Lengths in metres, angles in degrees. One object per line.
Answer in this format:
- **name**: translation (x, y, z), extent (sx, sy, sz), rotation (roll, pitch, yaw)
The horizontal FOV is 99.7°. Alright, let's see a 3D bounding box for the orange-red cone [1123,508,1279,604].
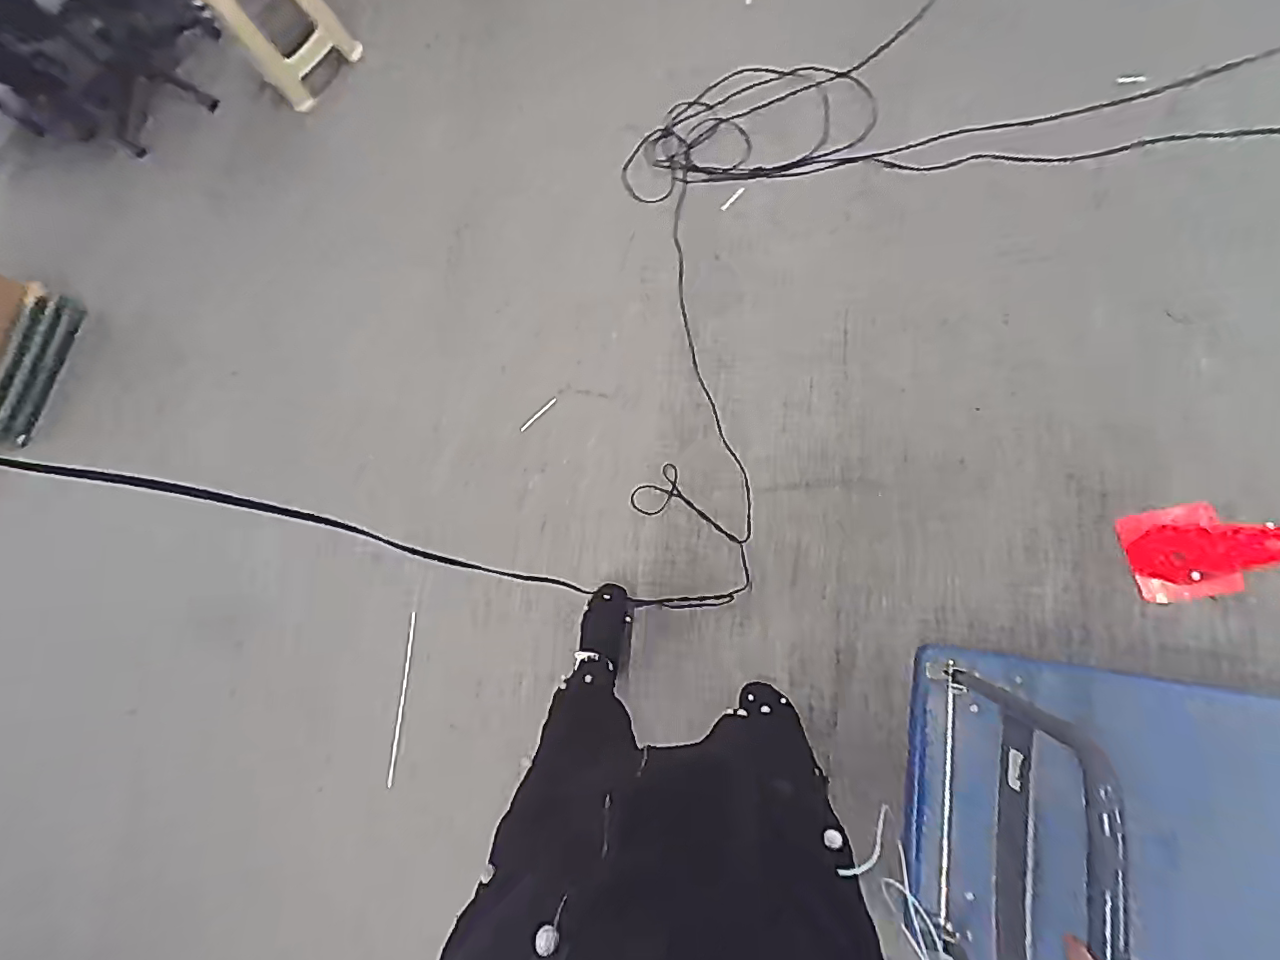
- **orange-red cone**: translation (1.188, 0.135, 1.056), extent (0.198, 0.360, 0.199), rotation (-11, 75, 9)
